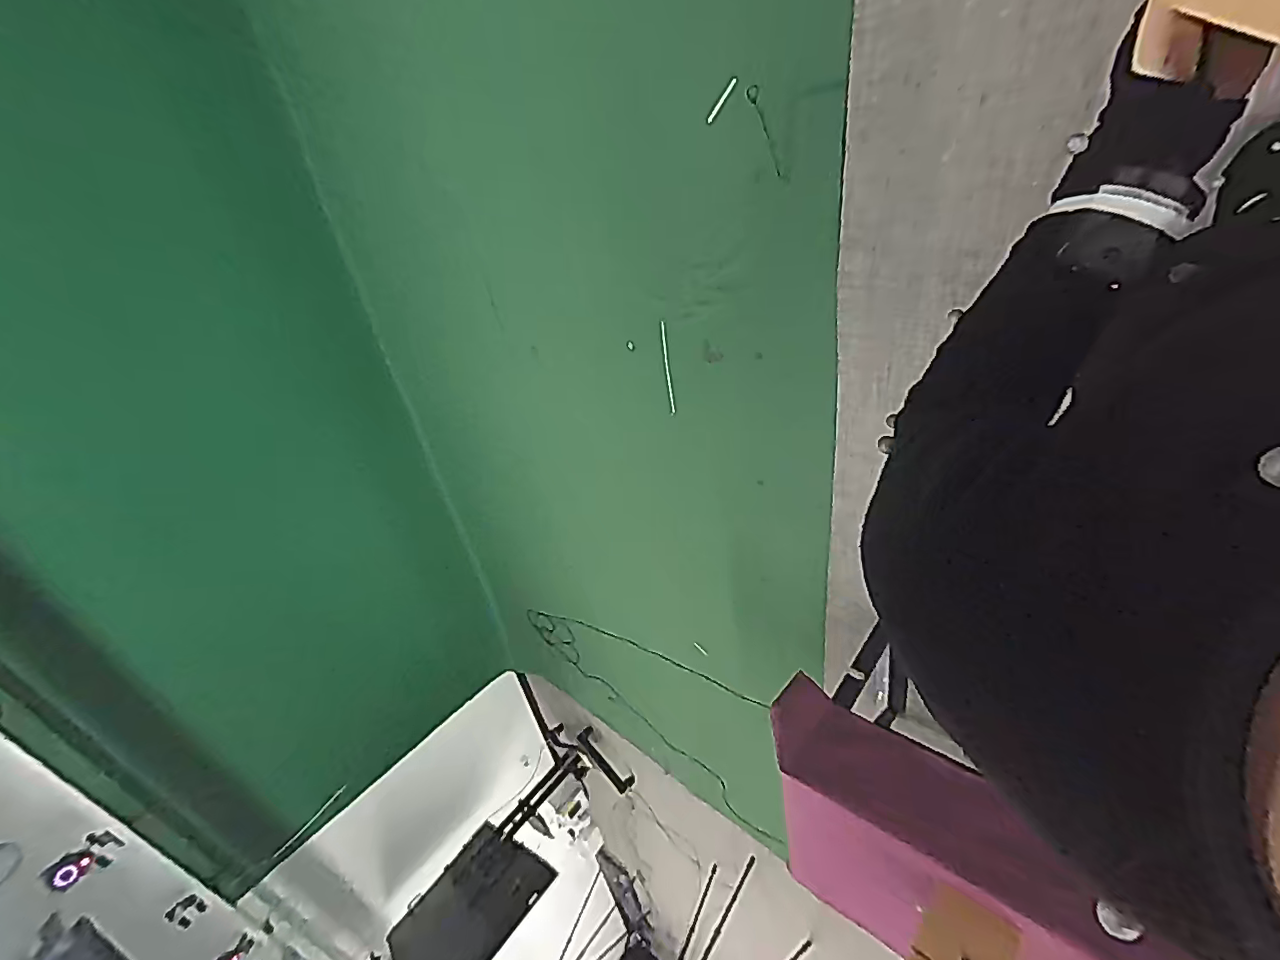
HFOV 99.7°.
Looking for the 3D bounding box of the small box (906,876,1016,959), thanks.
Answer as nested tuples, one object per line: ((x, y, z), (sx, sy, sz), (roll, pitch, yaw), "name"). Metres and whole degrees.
((0.708, 1.042, 1.201), (0.179, 0.176, 0.168), (18, 132, 40), "small box")
